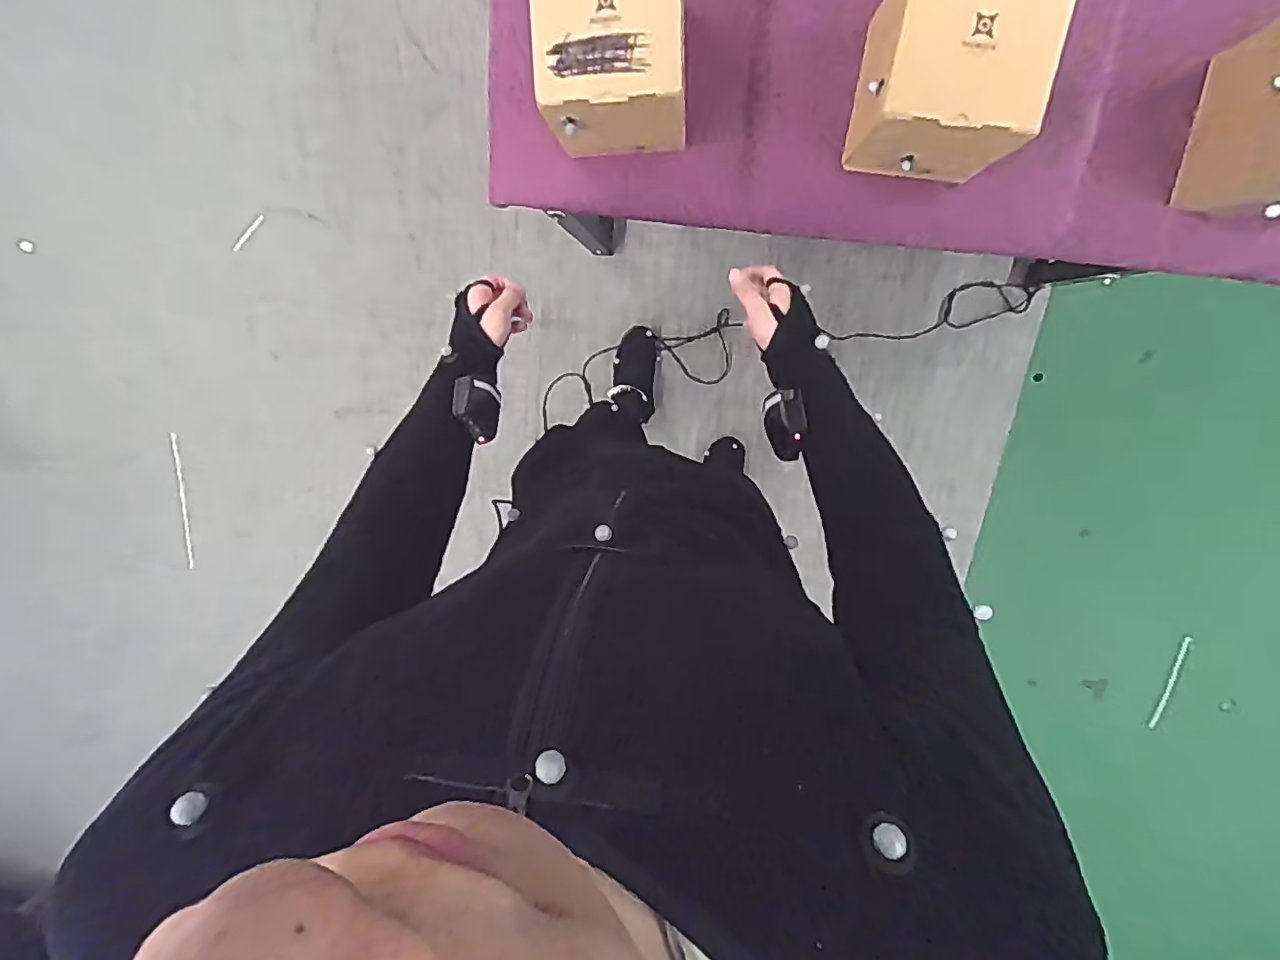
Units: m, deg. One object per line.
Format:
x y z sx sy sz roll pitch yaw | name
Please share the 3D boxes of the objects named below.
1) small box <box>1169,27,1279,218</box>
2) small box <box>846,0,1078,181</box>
0.775 -0.416 0.616 0.168 0.176 0.179 6 106 4 | small box
0.360 -0.478 0.636 0.168 0.176 0.179 8 106 2 | small box
